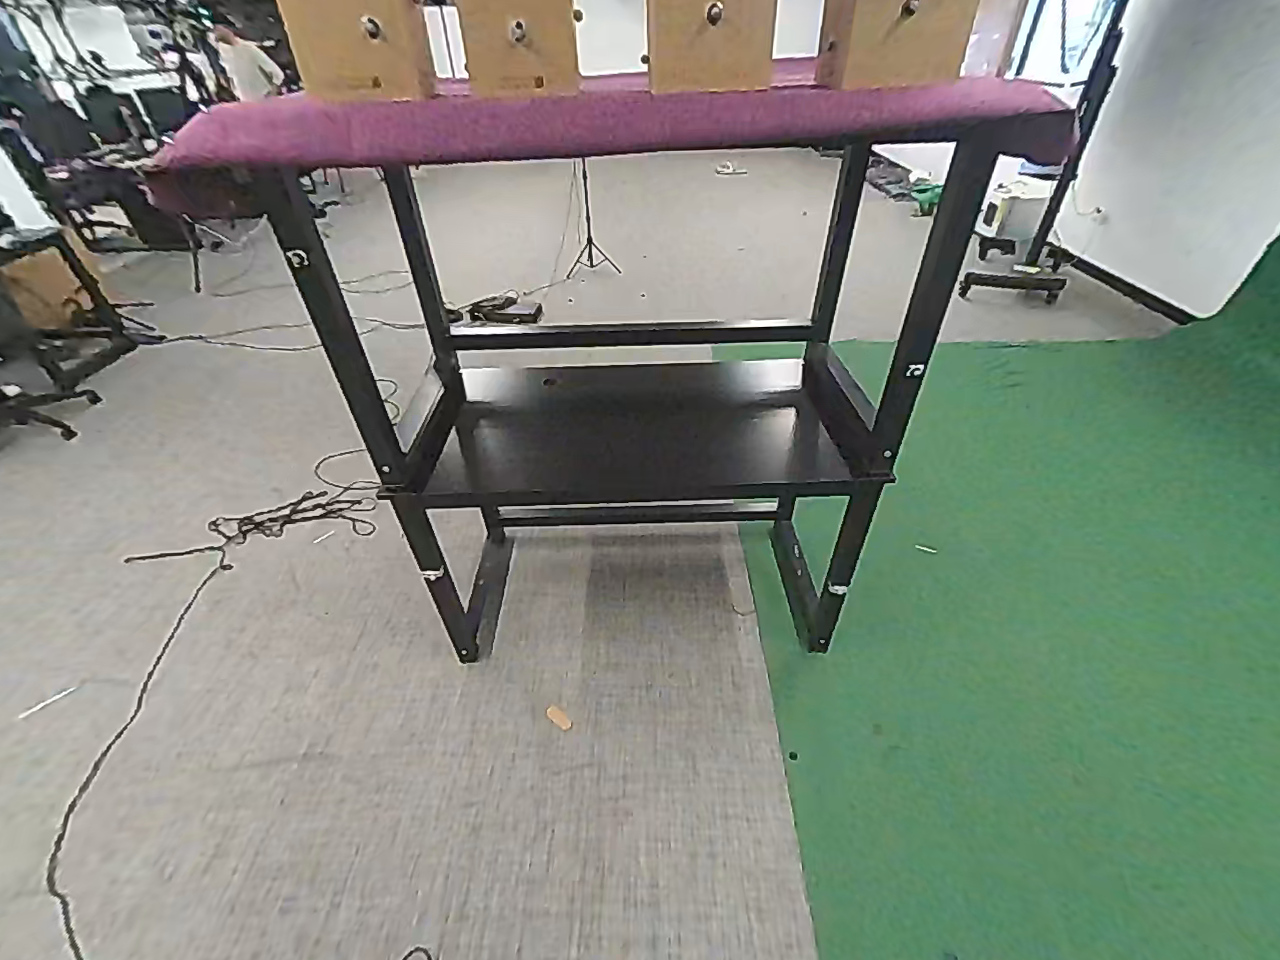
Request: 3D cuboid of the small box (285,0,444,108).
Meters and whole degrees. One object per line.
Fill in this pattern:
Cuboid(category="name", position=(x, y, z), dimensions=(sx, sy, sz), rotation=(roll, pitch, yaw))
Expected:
Cuboid(category="small box", position=(-0.416, -0.684, 0.840), dimensions=(0.168, 0.176, 0.179), rotation=(-4, 38, -4))

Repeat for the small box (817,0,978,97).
Cuboid(category="small box", position=(0.386, -0.695, 0.820), dimensions=(0.179, 0.176, 0.168), rotation=(-2, 39, 2))

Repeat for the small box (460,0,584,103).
Cuboid(category="small box", position=(-0.176, -0.698, 0.848), dimensions=(0.168, 0.176, 0.179), rotation=(-4, 39, -3))
